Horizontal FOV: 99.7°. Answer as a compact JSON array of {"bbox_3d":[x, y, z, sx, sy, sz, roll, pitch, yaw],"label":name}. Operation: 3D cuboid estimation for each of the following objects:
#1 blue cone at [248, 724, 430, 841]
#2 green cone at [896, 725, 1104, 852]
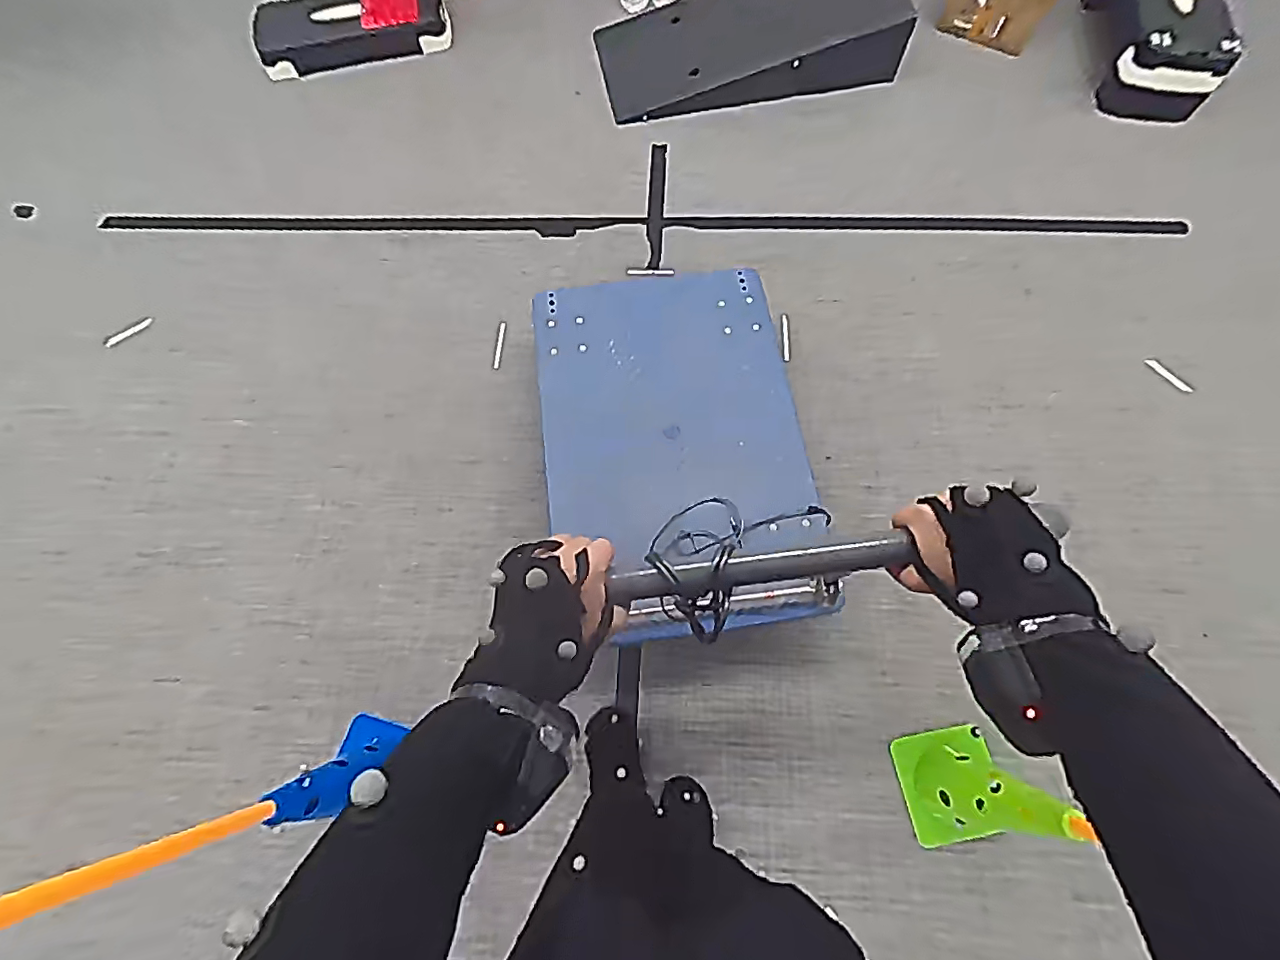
[{"bbox_3d":[-0.550,0.564,0.968,0.193,0.380,0.192,16,71,7],"label":"blue cone"},{"bbox_3d":[0.631,0.556,0.927,0.200,0.368,0.202,-11,70,-3],"label":"green cone"}]
